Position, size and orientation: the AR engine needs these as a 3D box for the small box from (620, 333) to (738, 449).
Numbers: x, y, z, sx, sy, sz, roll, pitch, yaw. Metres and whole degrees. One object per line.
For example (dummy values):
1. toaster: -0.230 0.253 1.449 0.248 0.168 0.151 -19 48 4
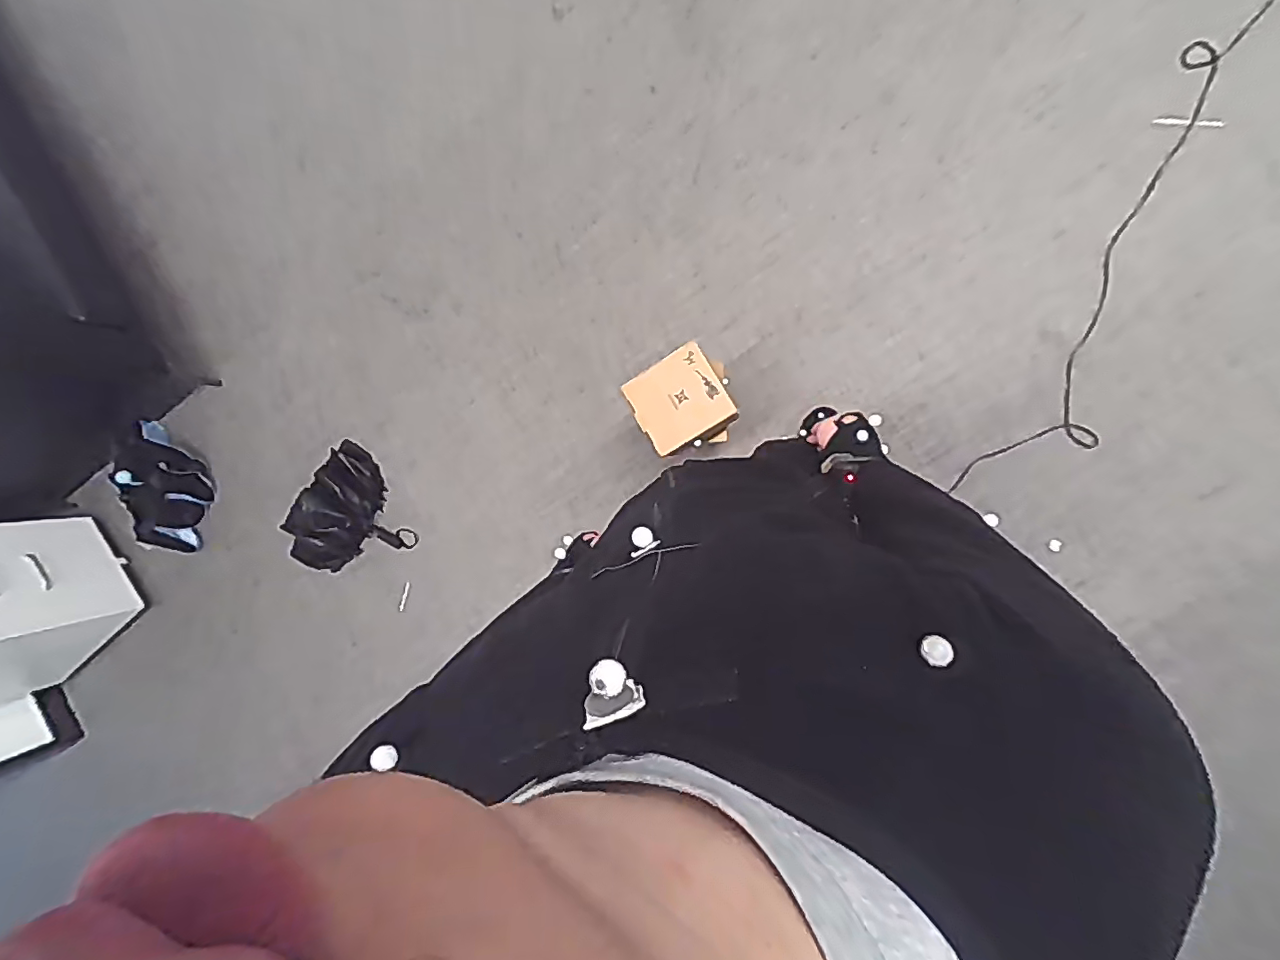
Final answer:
1. small box: 0.089 -0.176 1.129 0.179 0.176 0.168 -30 87 14

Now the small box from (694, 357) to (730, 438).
1. small box: 0.124 -0.189 1.288 0.168 0.176 0.179 -2 95 13
